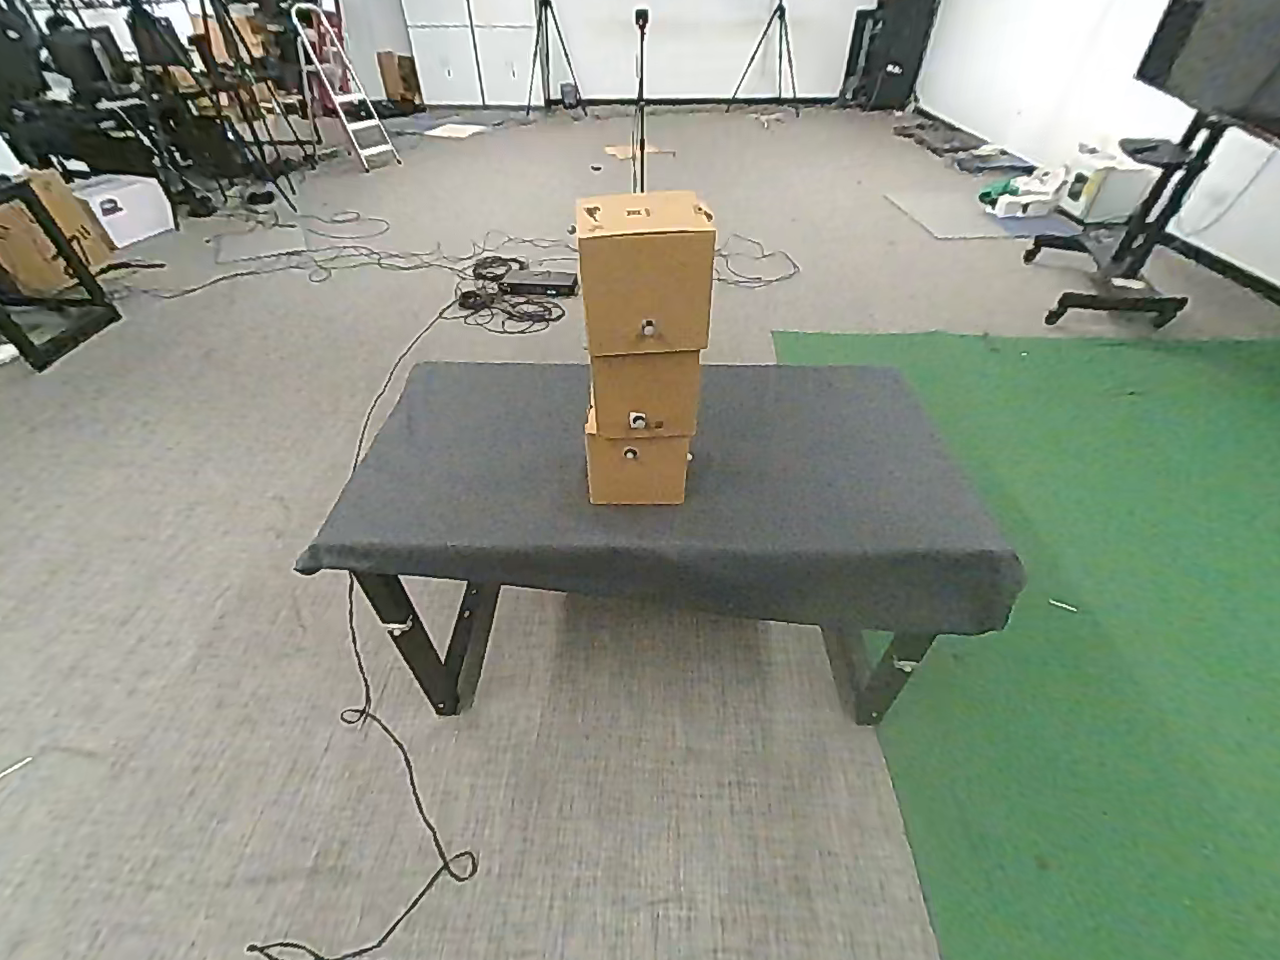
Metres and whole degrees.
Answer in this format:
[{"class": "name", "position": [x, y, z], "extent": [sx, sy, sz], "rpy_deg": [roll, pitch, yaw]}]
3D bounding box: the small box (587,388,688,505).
[{"class": "small box", "position": [-0.001, -0.066, 1.017], "extent": [0.179, 0.176, 0.168], "rpy_deg": [1, 42, 1]}]

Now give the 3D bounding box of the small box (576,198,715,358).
[{"class": "small box", "position": [0.004, -0.290, 0.780], "extent": [0.179, 0.176, 0.168], "rpy_deg": [-4, 42, -2]}]

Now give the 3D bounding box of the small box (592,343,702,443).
[{"class": "small box", "position": [0.007, -0.181, 0.904], "extent": [0.168, 0.176, 0.179], "rpy_deg": [-4, 44, -1]}]
